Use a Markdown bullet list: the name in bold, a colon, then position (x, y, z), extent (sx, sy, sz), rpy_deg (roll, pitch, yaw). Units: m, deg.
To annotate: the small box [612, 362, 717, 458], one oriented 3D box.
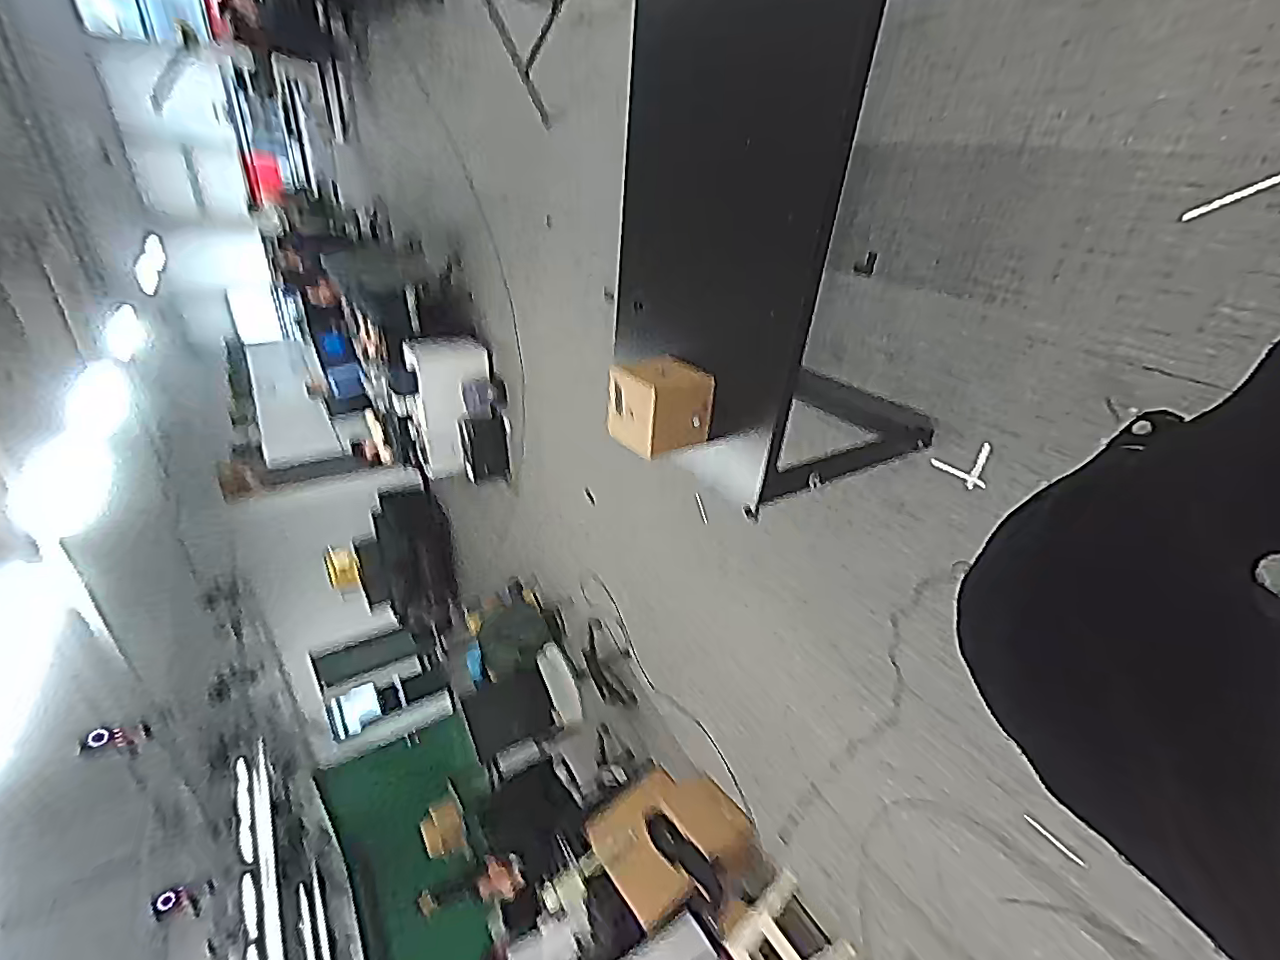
- **small box**: position (0.052, -0.169, 1.249), extent (0.179, 0.176, 0.168), rpy_deg (36, 132, 45)
